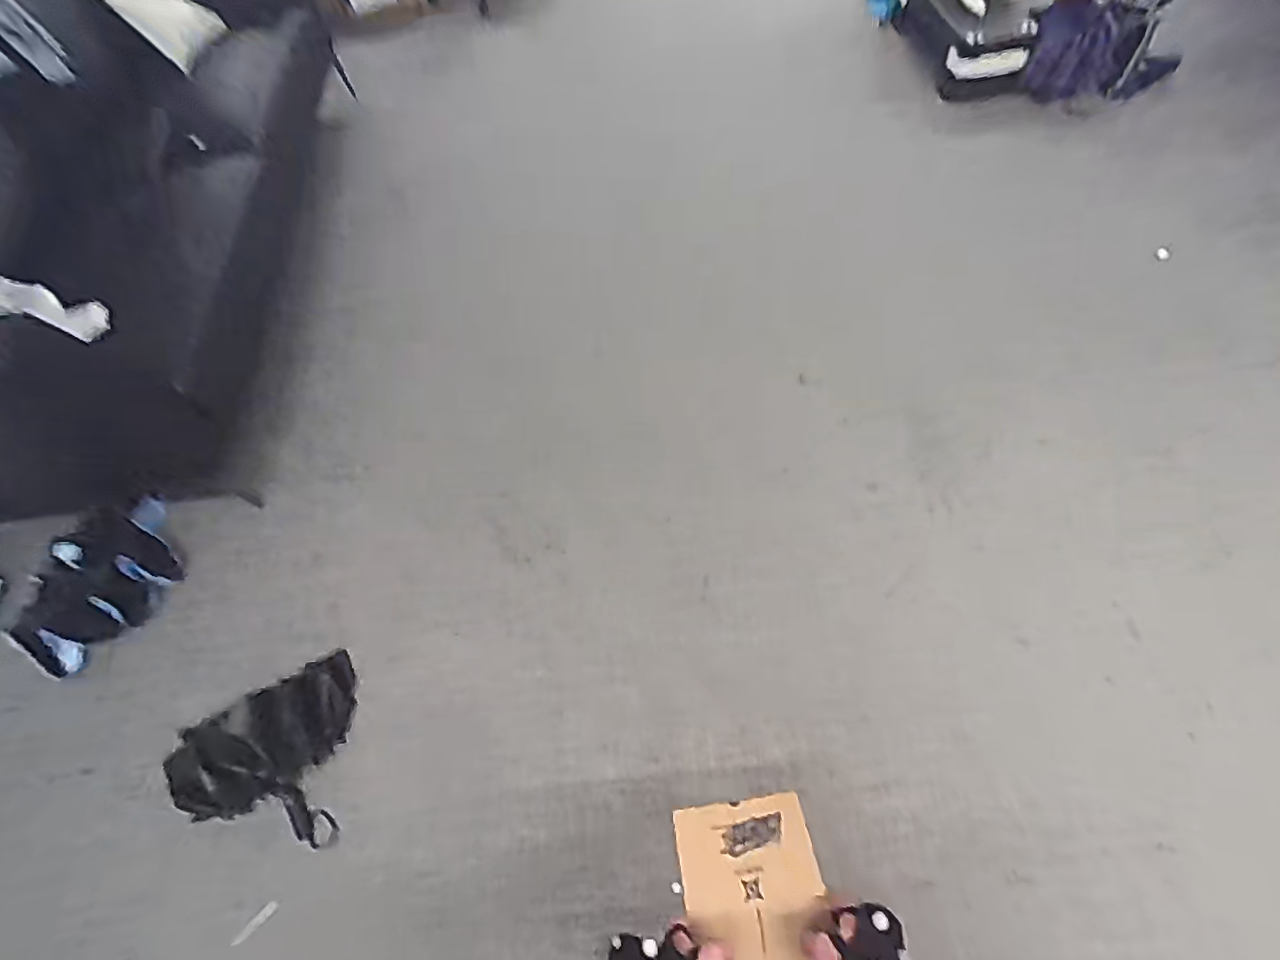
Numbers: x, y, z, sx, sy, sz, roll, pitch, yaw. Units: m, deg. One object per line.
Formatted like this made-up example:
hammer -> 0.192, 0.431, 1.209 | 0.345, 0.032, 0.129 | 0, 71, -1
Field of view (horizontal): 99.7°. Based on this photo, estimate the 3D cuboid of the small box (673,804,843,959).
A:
small box -> 0.138, 0.537, 0.678 | 0.168, 0.176, 0.179 | -10, 45, 0
